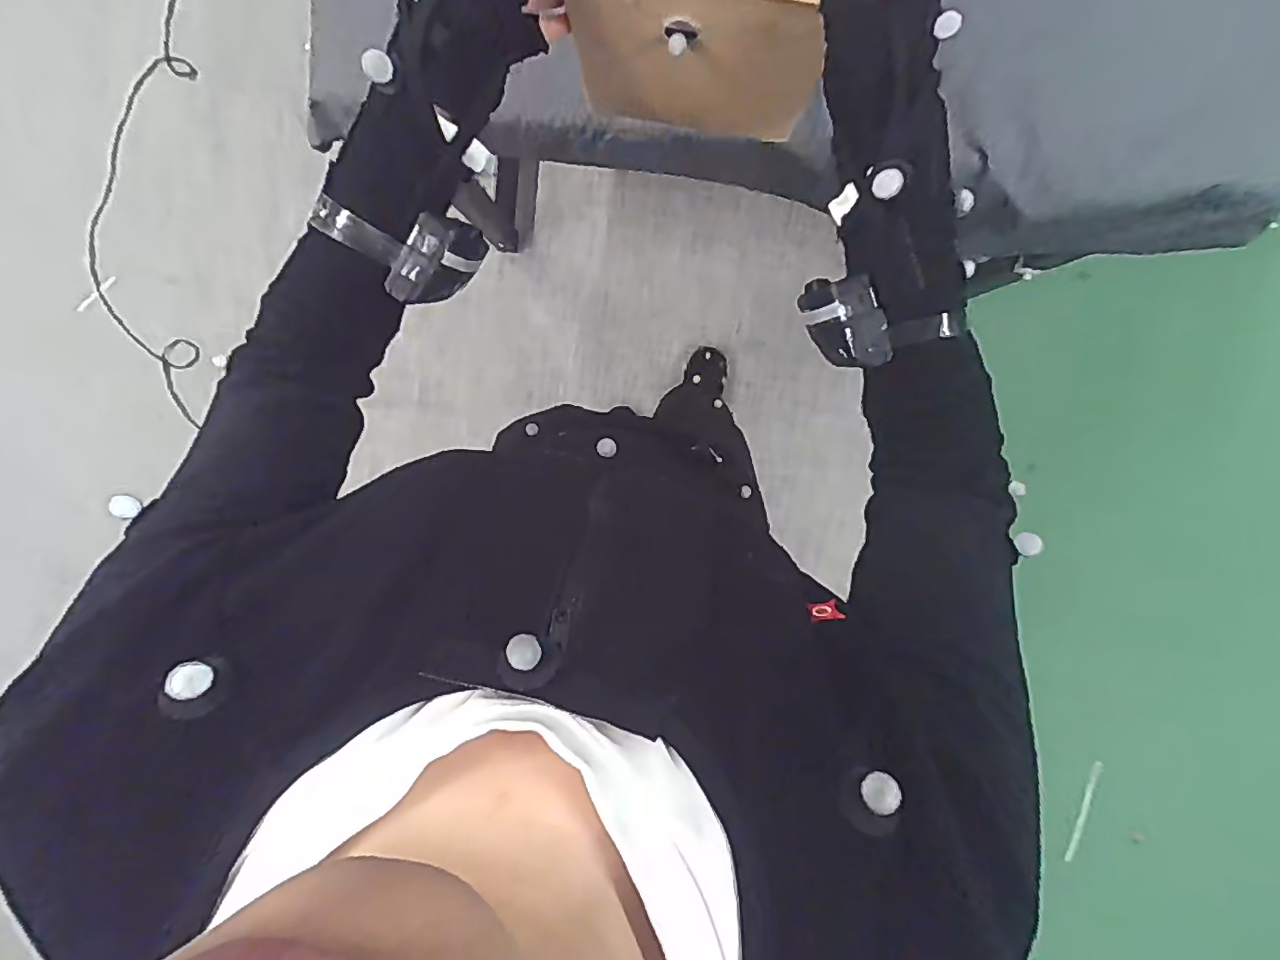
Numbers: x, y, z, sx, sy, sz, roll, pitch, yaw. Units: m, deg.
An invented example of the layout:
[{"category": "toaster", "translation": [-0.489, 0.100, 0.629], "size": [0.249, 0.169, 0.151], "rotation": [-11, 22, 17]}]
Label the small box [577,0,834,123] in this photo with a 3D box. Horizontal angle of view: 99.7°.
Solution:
[{"category": "small box", "translation": [0.050, -0.383, 0.377], "size": [0.179, 0.176, 0.168], "rotation": [9, 100, 0]}]
